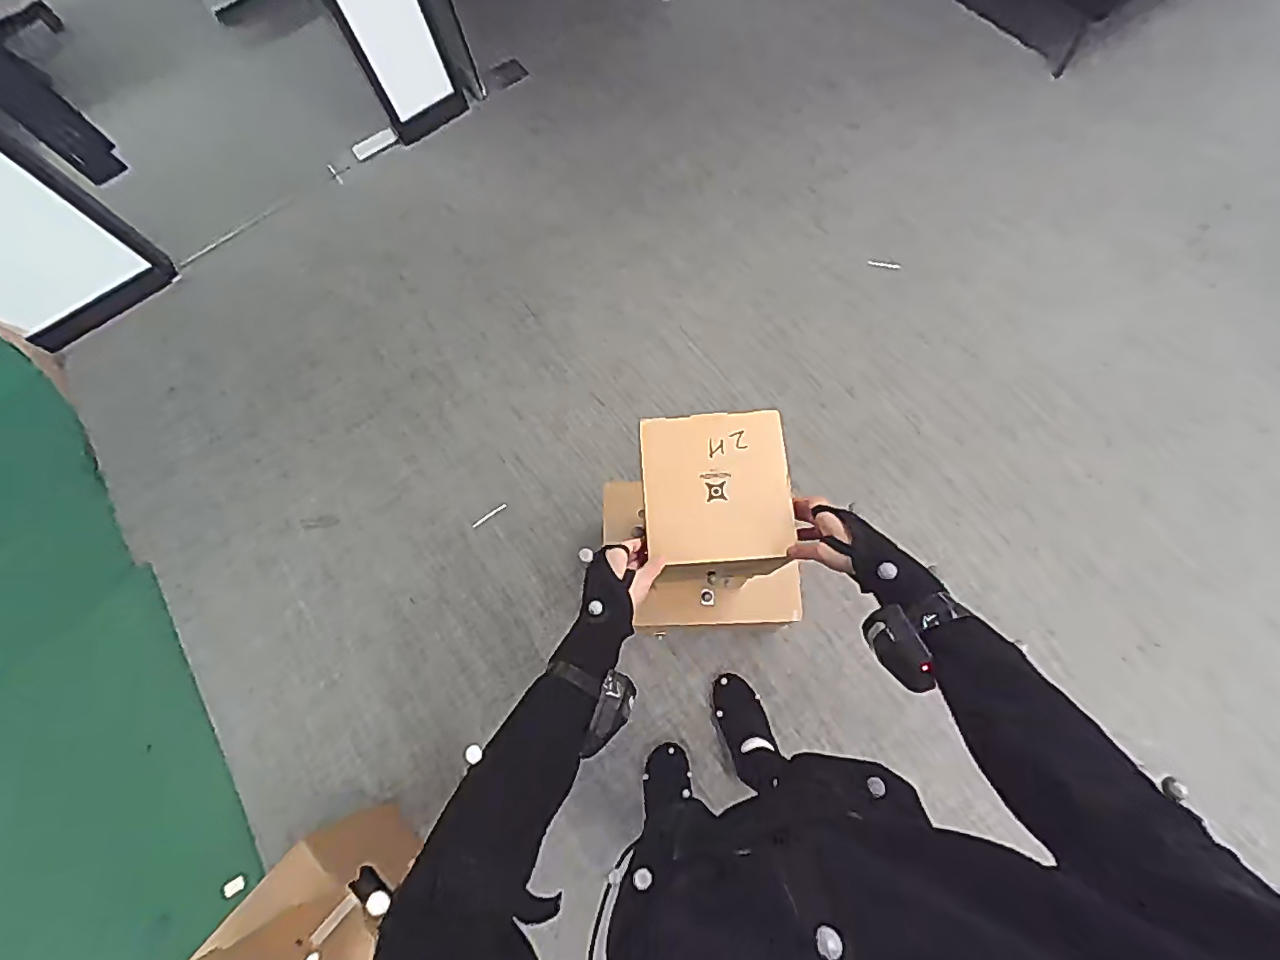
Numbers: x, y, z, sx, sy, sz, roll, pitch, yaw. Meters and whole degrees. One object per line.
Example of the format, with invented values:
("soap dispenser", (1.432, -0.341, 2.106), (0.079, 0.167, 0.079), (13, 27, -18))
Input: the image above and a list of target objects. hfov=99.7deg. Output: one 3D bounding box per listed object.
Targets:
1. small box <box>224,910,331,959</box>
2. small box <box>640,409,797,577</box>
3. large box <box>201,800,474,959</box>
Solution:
("small box", (-0.631, 0.860, 0.869), (0.168, 0.176, 0.179), (42, 79, 16))
("small box", (0.088, 0.027, 0.682), (0.168, 0.176, 0.179), (-4, 73, 1))
("large box", (-0.625, 0.959, 1.094), (0.320, 0.320, 0.408), (38, 80, 17))
